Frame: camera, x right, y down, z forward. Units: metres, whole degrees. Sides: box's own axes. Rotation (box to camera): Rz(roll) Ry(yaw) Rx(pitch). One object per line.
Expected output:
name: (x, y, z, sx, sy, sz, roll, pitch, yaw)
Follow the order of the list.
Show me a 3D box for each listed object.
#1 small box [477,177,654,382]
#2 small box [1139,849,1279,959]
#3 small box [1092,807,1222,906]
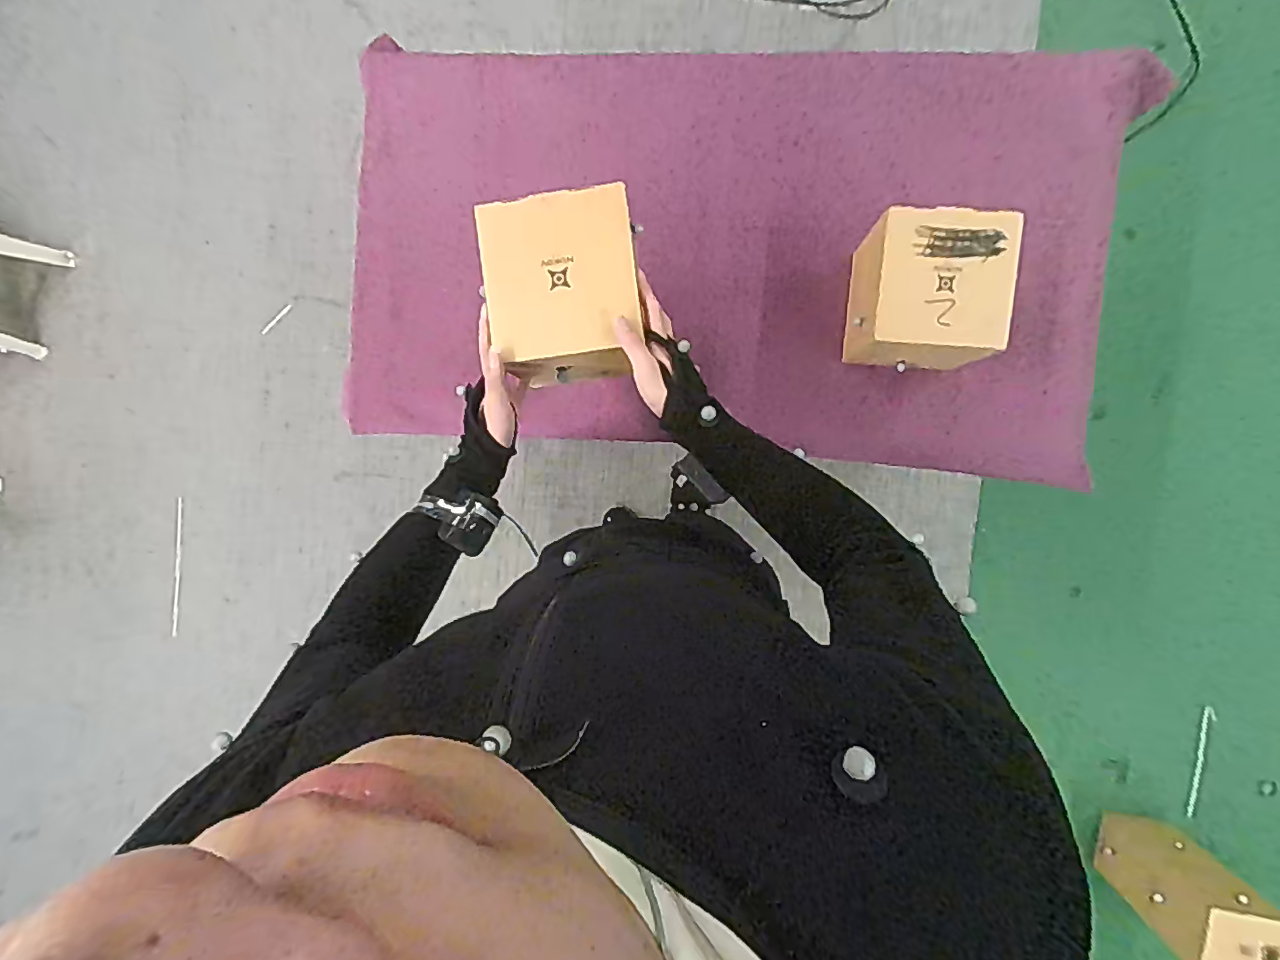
small box: (-0.076, -0.220, 0.646, 0.168, 0.176, 0.179, -8, 90, 3)
small box: (1.356, 1.020, 1.283, 0.179, 0.176, 0.168, 7, 93, 6)
small box: (1.373, 1.012, 1.447, 0.179, 0.176, 0.168, 7, 93, 6)
